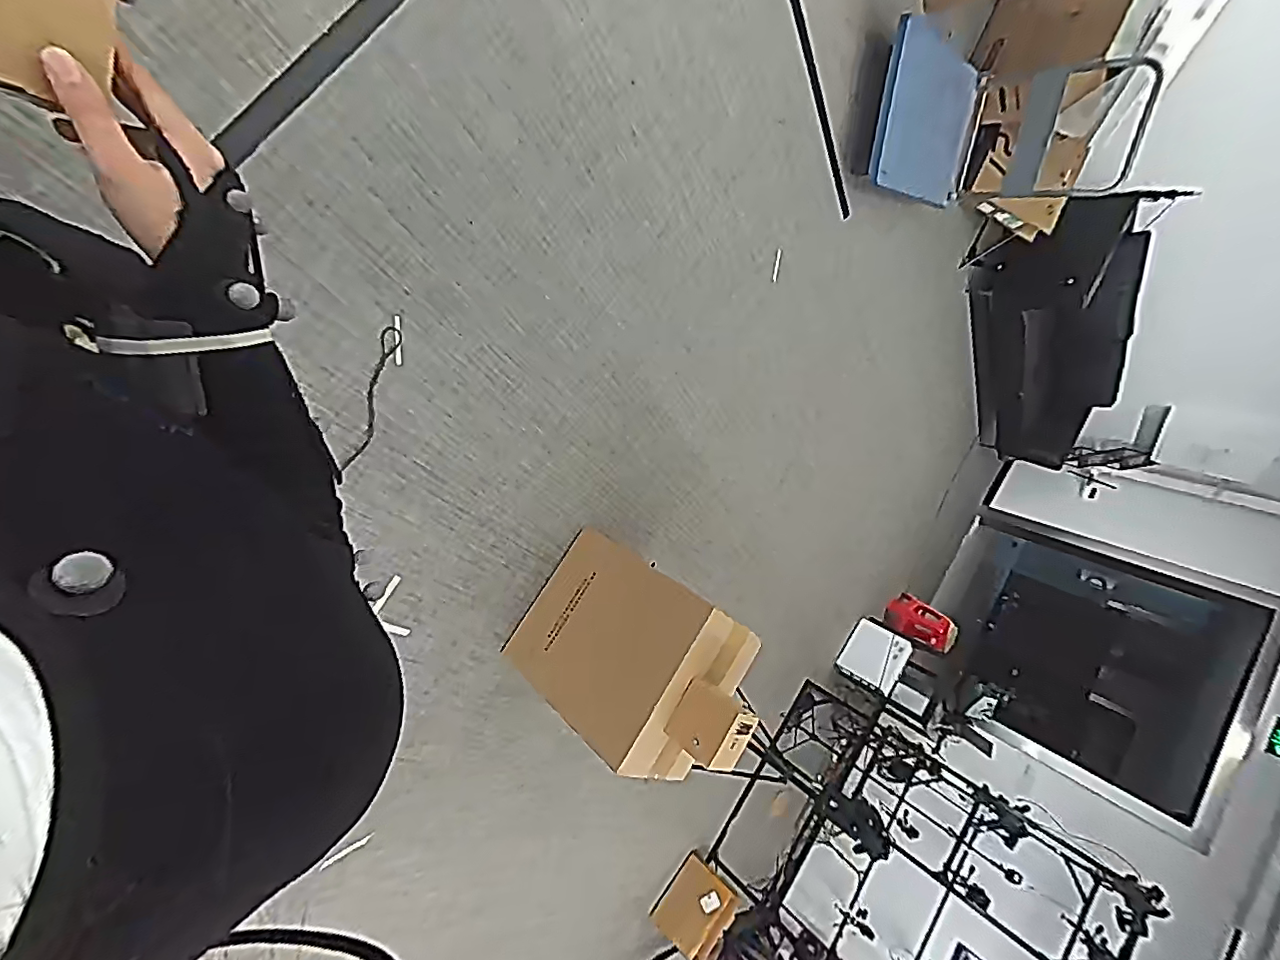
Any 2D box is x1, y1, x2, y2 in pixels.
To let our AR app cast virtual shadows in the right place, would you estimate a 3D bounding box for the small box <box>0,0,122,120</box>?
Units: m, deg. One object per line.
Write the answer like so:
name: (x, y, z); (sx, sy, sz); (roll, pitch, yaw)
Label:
small box: (-0.364, -0.305, 0.252); (0.168, 0.176, 0.179); (0, 114, -53)
